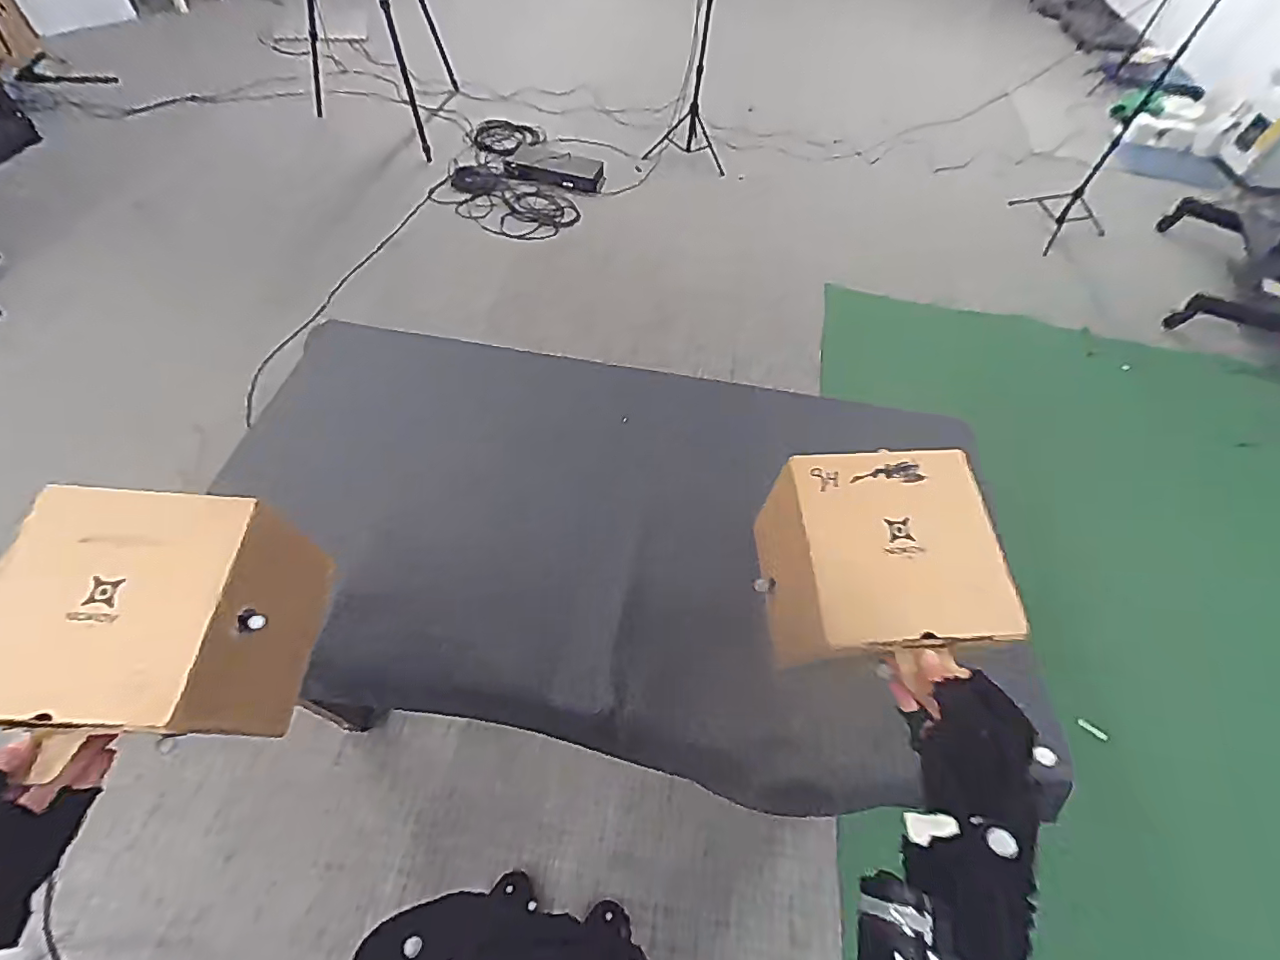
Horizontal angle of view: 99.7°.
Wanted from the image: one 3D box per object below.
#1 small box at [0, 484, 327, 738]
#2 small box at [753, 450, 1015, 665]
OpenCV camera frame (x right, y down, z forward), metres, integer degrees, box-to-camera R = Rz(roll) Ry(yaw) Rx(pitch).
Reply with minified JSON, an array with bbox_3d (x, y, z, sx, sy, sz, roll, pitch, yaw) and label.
[{"bbox_3d":[-0.403,0.122,0.466,0.168,0.176,0.179,5,62,-5],"label":"small box"},{"bbox_3d":[0.219,0.087,0.542,0.168,0.176,0.179,-2,64,-3],"label":"small box"}]
